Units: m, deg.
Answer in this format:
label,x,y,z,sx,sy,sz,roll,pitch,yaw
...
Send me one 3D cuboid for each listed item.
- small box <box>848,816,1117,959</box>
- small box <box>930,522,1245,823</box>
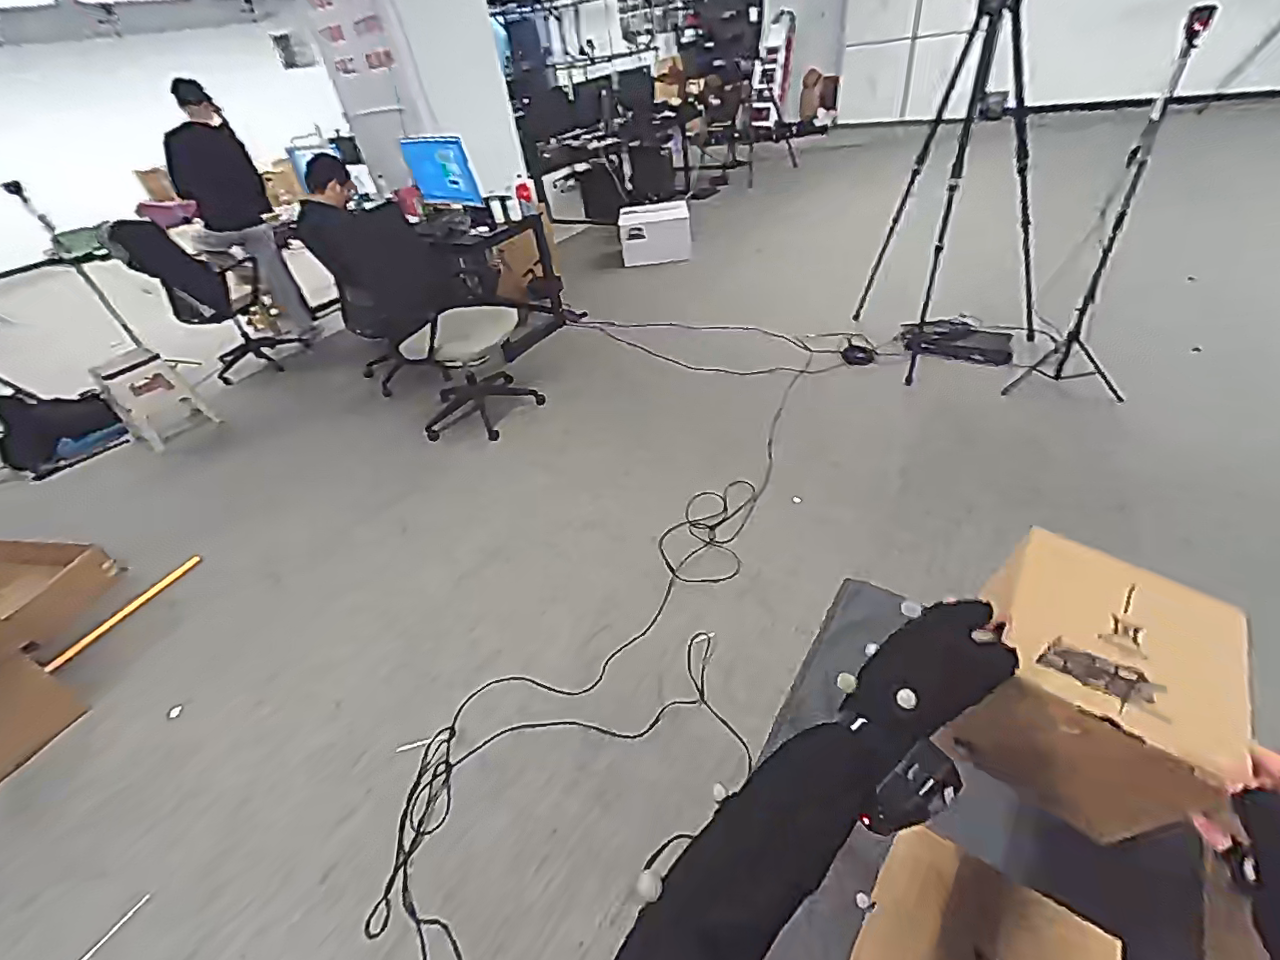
label,x,y,z,sx,sy,sz,roll,pitch,yaw
small box,0.283,0.457,0.482,0.168,0.176,0.179,20,48,32
small box,0.399,0.180,0.506,0.168,0.176,0.179,27,53,24
